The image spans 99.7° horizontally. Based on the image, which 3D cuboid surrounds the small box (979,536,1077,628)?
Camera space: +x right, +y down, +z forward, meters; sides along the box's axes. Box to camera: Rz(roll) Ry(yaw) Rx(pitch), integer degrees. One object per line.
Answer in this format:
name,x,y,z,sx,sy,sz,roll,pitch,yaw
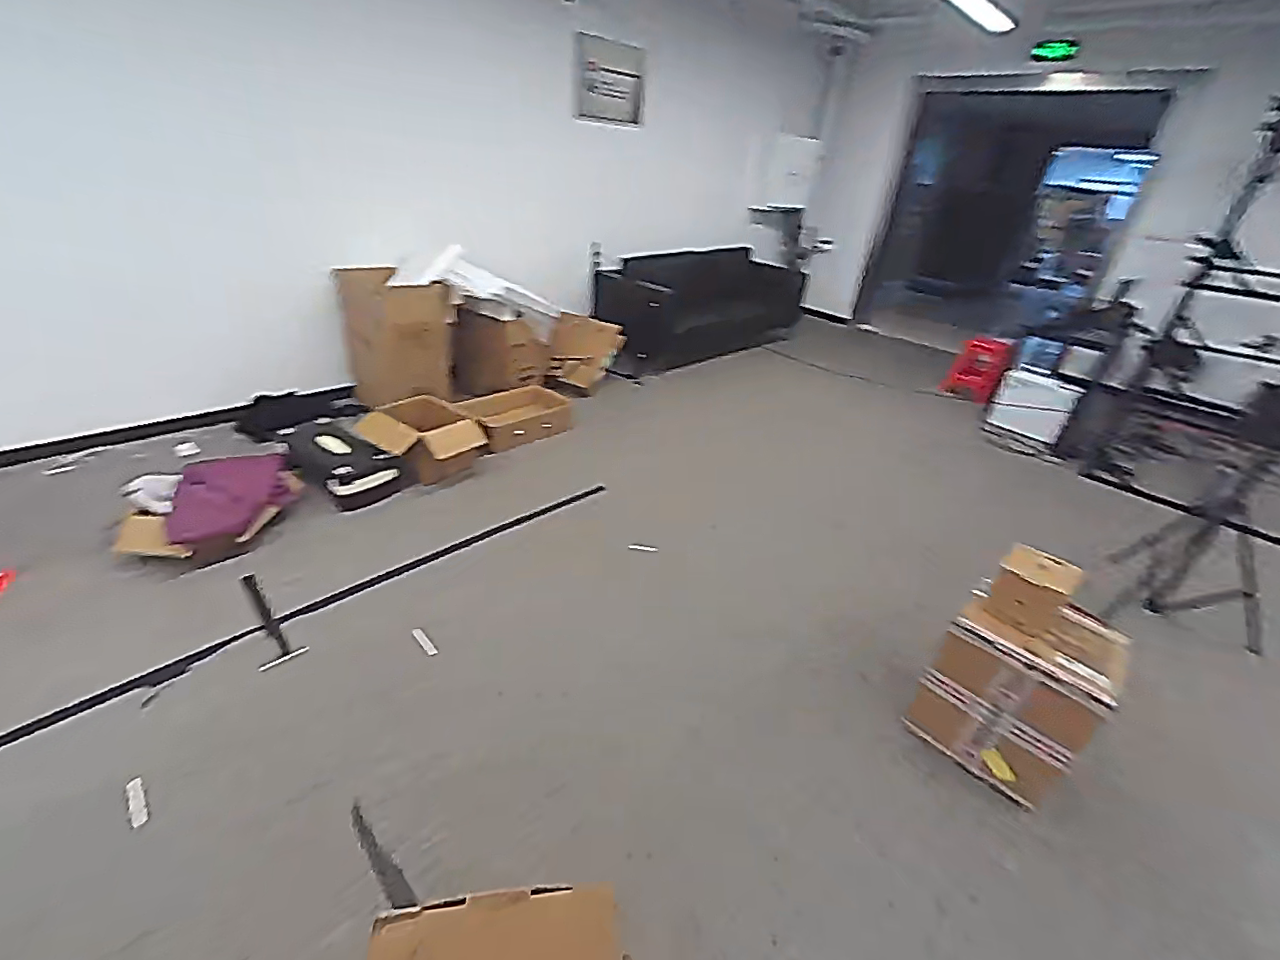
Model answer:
small box,1.126,0.297,1.580,0.179,0.176,0.168,-24,39,-36
